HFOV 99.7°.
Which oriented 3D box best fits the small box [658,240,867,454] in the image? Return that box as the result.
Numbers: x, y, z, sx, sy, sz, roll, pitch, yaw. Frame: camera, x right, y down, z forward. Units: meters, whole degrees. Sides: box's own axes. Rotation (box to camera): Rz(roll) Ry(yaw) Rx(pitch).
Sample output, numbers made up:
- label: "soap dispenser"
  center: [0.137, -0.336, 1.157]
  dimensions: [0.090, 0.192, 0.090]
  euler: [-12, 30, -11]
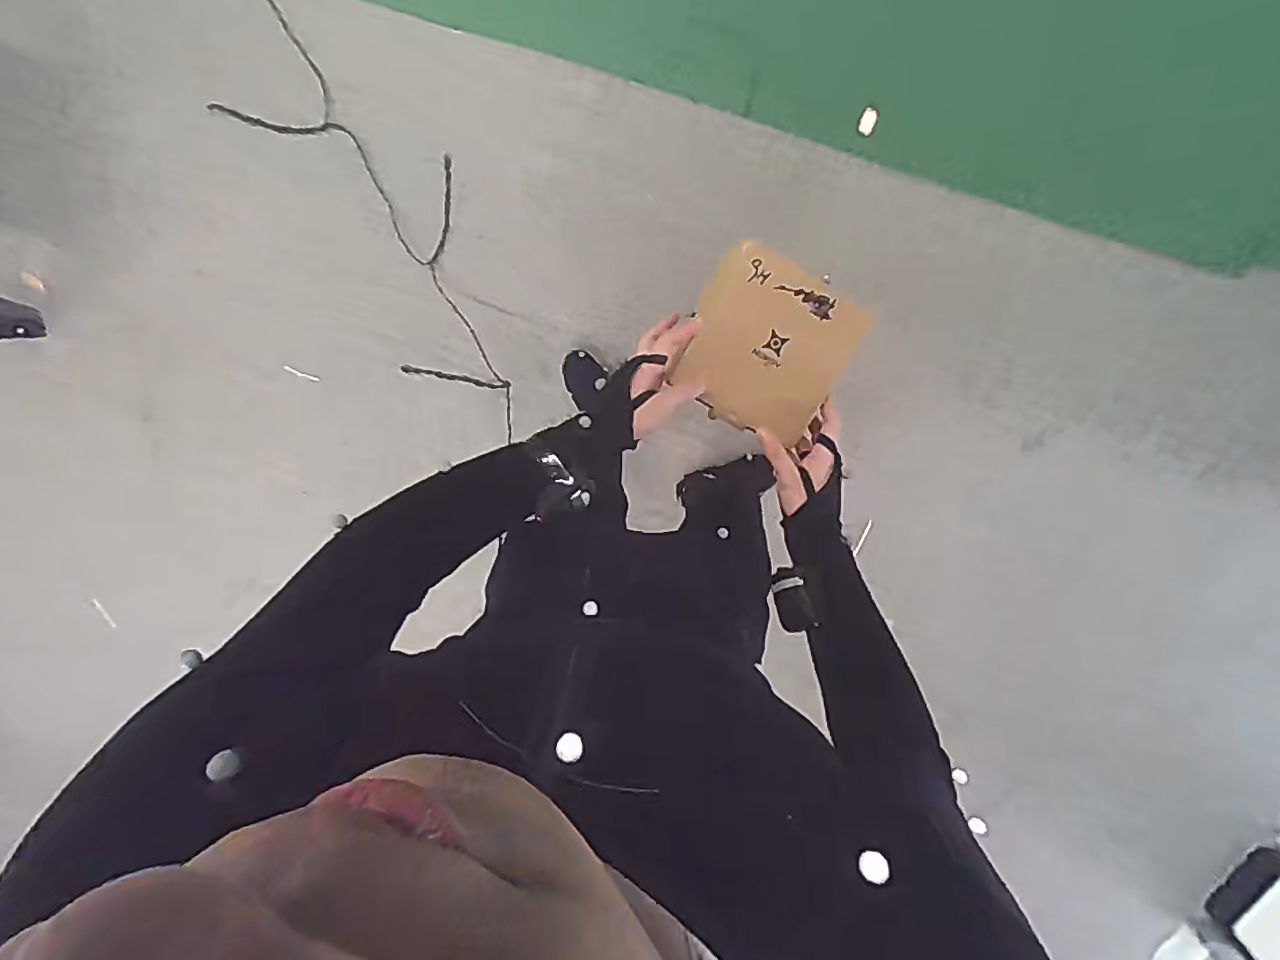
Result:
- label: "small box"
  center: [0.134, -0.159, 0.662]
  dimensions: [0.168, 0.176, 0.179]
  euler: [27, 104, -7]
